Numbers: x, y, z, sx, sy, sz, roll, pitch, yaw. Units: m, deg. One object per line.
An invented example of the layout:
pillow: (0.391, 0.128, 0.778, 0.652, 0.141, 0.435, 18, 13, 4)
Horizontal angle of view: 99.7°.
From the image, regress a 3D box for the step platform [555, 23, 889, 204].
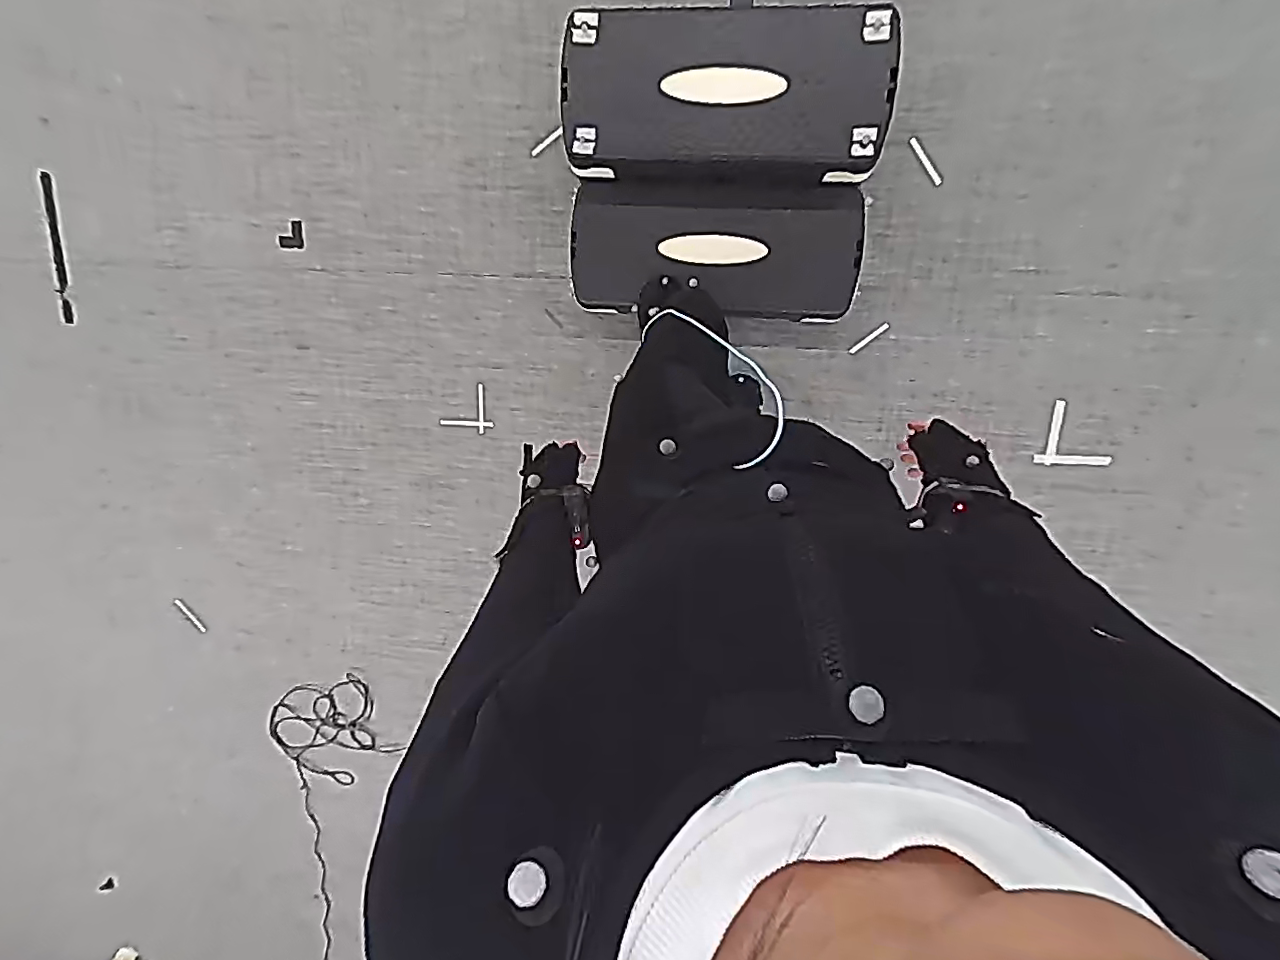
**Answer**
step platform: (0.160, -0.777, 1.168, 0.684, 0.204, 0.286, 3, 105, 6)
